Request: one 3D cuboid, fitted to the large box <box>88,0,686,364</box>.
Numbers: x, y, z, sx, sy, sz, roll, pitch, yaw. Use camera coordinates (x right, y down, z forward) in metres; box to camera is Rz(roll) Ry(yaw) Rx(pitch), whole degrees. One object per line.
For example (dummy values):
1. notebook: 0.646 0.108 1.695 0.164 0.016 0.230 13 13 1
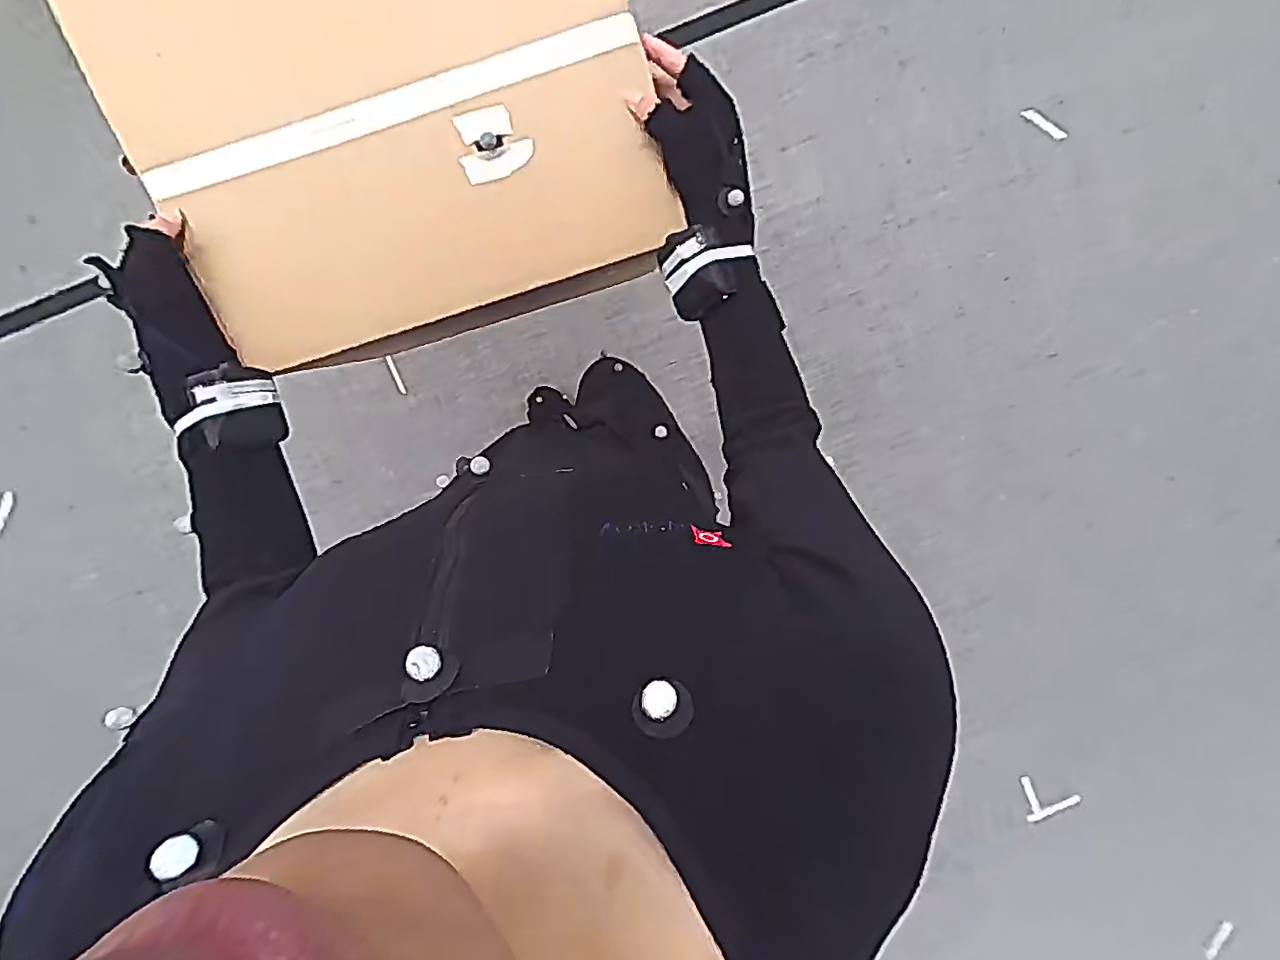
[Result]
1. large box: -0.203 -0.342 0.586 0.408 0.320 0.320 -18 107 0
